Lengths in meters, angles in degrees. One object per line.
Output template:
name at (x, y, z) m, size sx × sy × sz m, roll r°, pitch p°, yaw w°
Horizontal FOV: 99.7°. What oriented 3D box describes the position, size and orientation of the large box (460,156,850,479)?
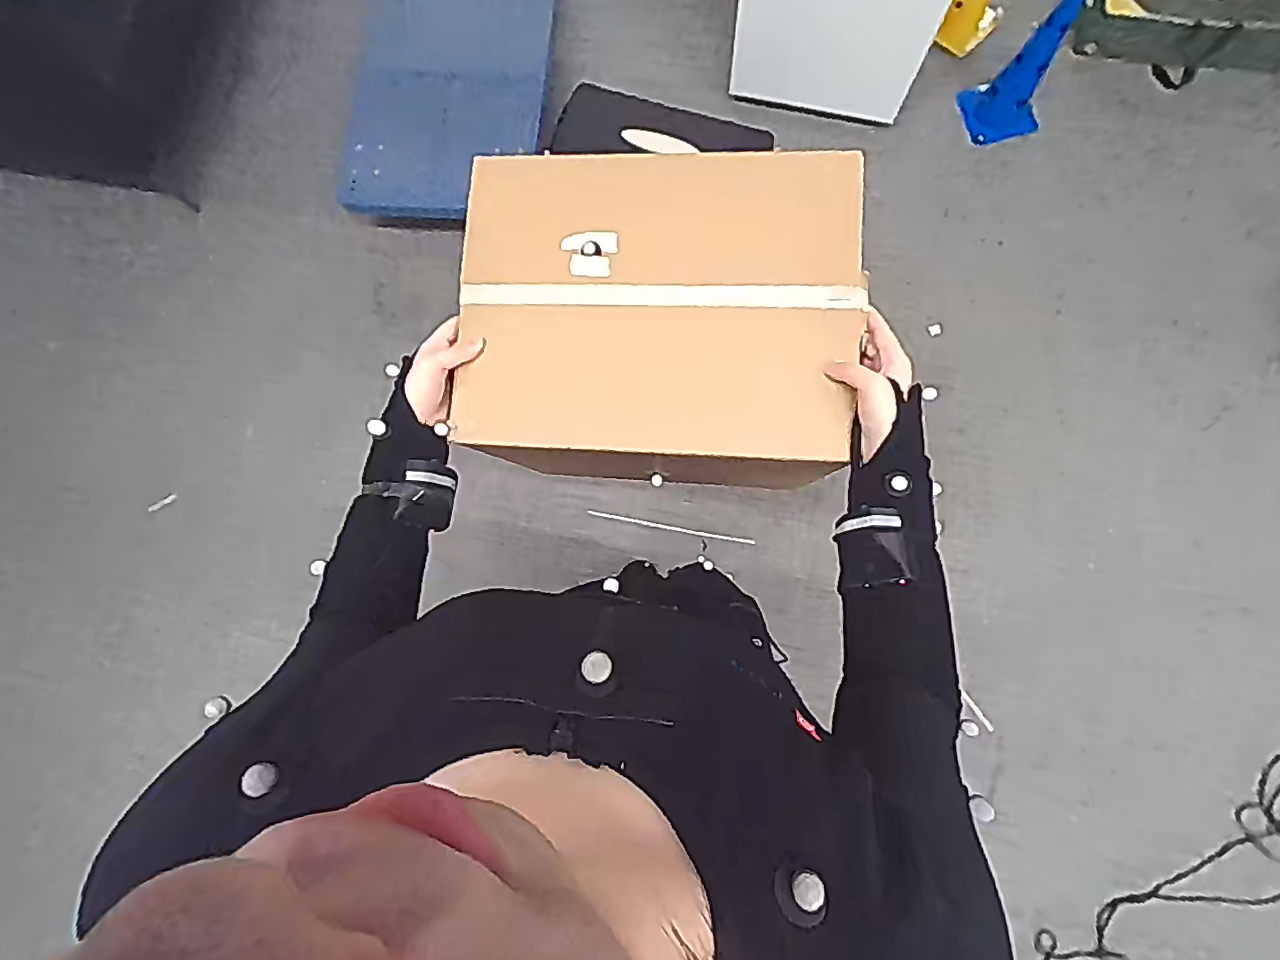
large box at (0.032, -0.169, 0.706) m, size 0.408 × 0.320 × 0.320 m, roll 3°, pitch 84°, yaw 8°
